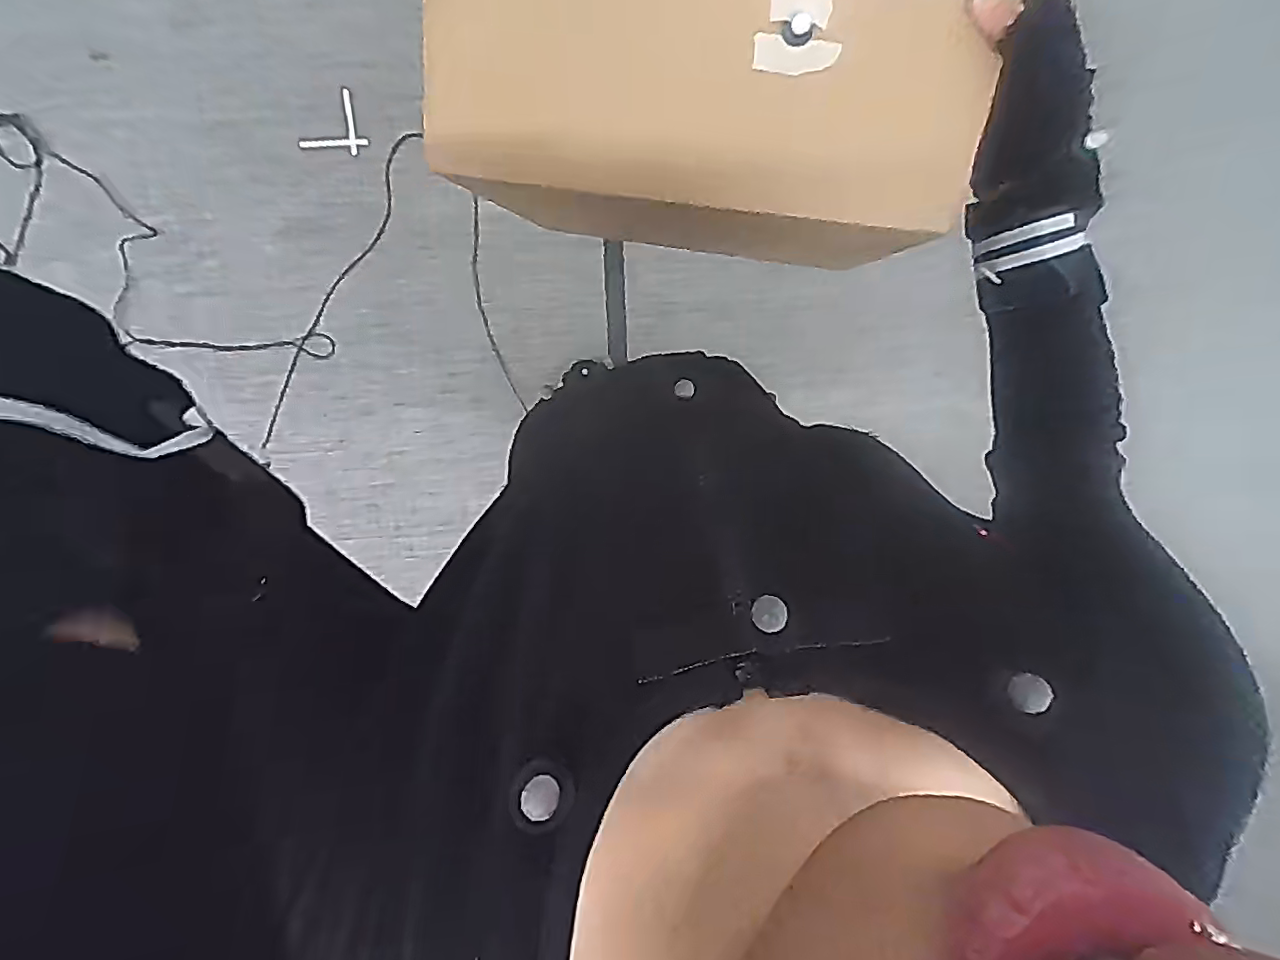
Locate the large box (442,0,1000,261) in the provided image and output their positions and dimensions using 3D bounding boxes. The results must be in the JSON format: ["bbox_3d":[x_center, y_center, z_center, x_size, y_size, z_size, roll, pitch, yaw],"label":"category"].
[{"bbox_3d":[0.068,-0.411,0.521,0.408,0.320,0.320,9,108,4],"label":"large box"}]
